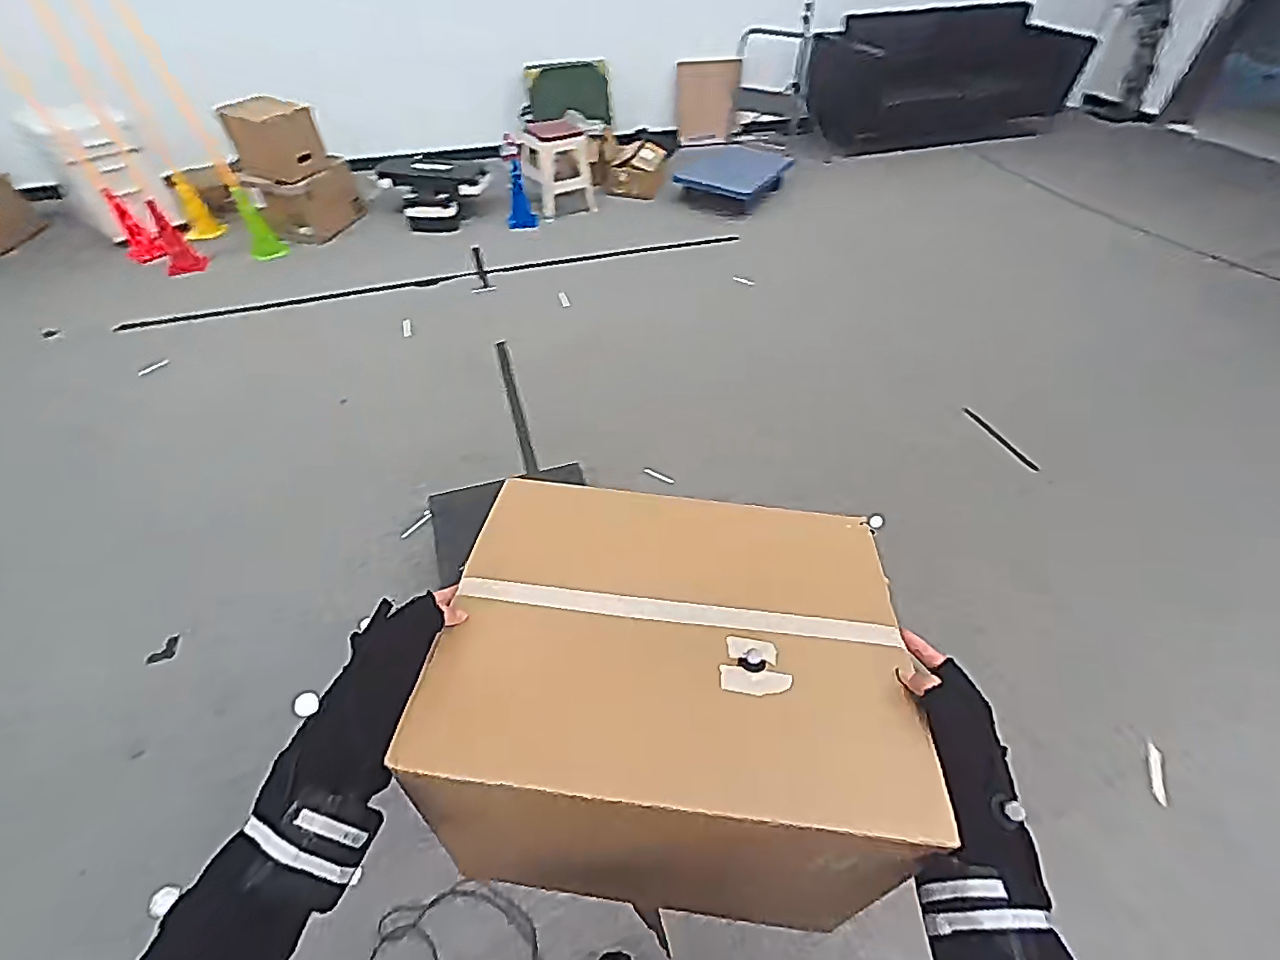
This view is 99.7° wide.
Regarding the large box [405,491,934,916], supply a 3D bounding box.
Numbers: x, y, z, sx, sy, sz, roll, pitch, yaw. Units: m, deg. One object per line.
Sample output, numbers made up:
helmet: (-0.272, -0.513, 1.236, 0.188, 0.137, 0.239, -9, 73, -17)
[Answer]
large box: (0.023, 0.242, 0.605, 0.408, 0.320, 0.320, 6, 42, 3)
